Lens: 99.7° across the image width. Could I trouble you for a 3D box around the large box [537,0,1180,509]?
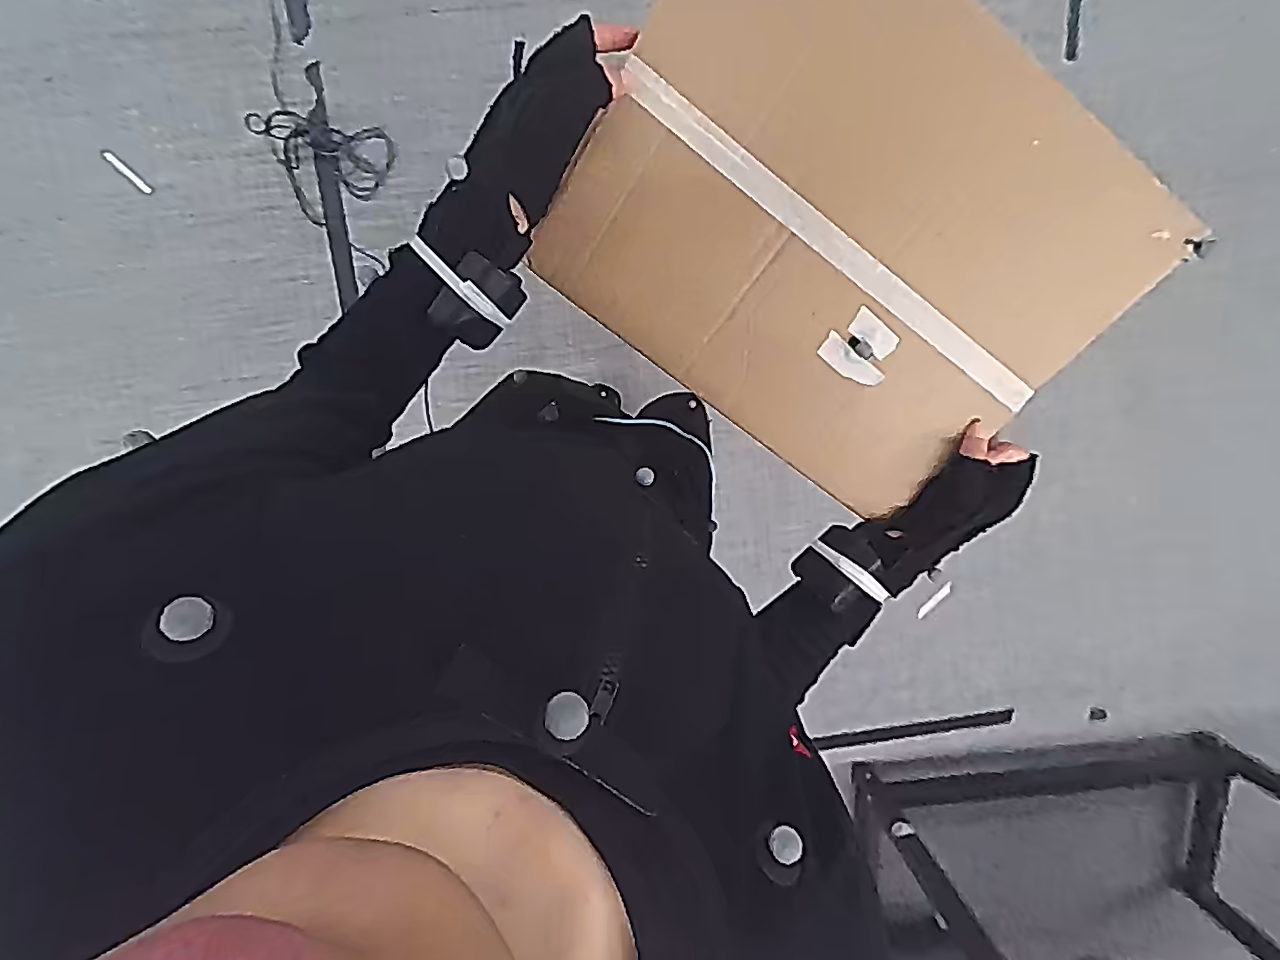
[{"bbox_3d":[0.170,-0.249,0.563,0.408,0.320,0.320,35,114,-10],"label":"large box"}]
